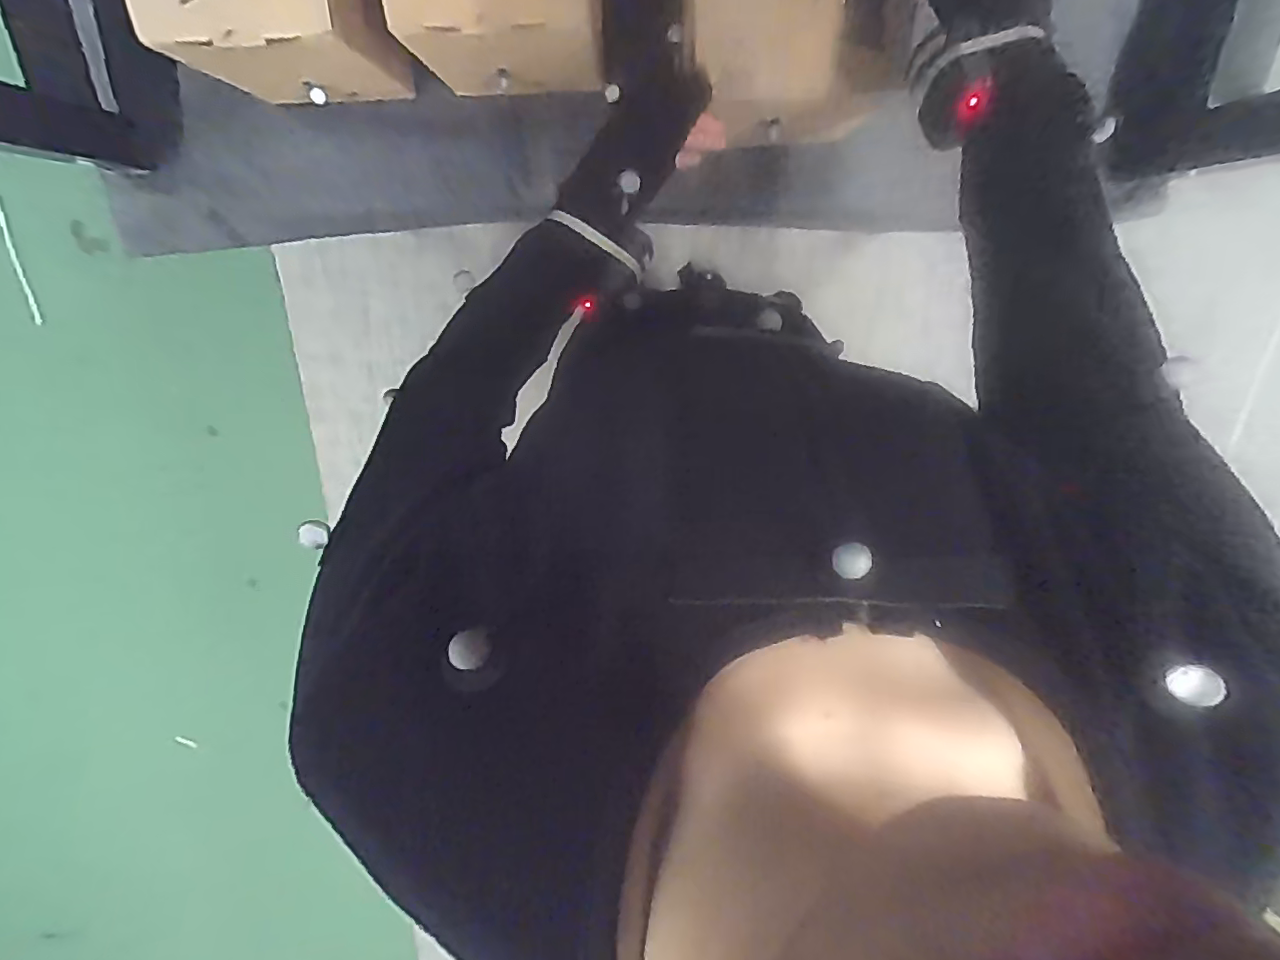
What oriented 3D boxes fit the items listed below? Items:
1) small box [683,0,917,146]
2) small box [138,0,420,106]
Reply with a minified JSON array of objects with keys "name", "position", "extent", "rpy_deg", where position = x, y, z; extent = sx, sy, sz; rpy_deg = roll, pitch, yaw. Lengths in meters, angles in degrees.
[{"name":"small box","position":[0.133,-0.422,0.495],"extent":[0.179,0.176,0.168],"rpy_deg":[-1,108,2]},{"name":"small box","position":[-0.322,-0.469,0.491],"extent":[0.168,0.176,0.179],"rpy_deg":[-1,111,2]}]
